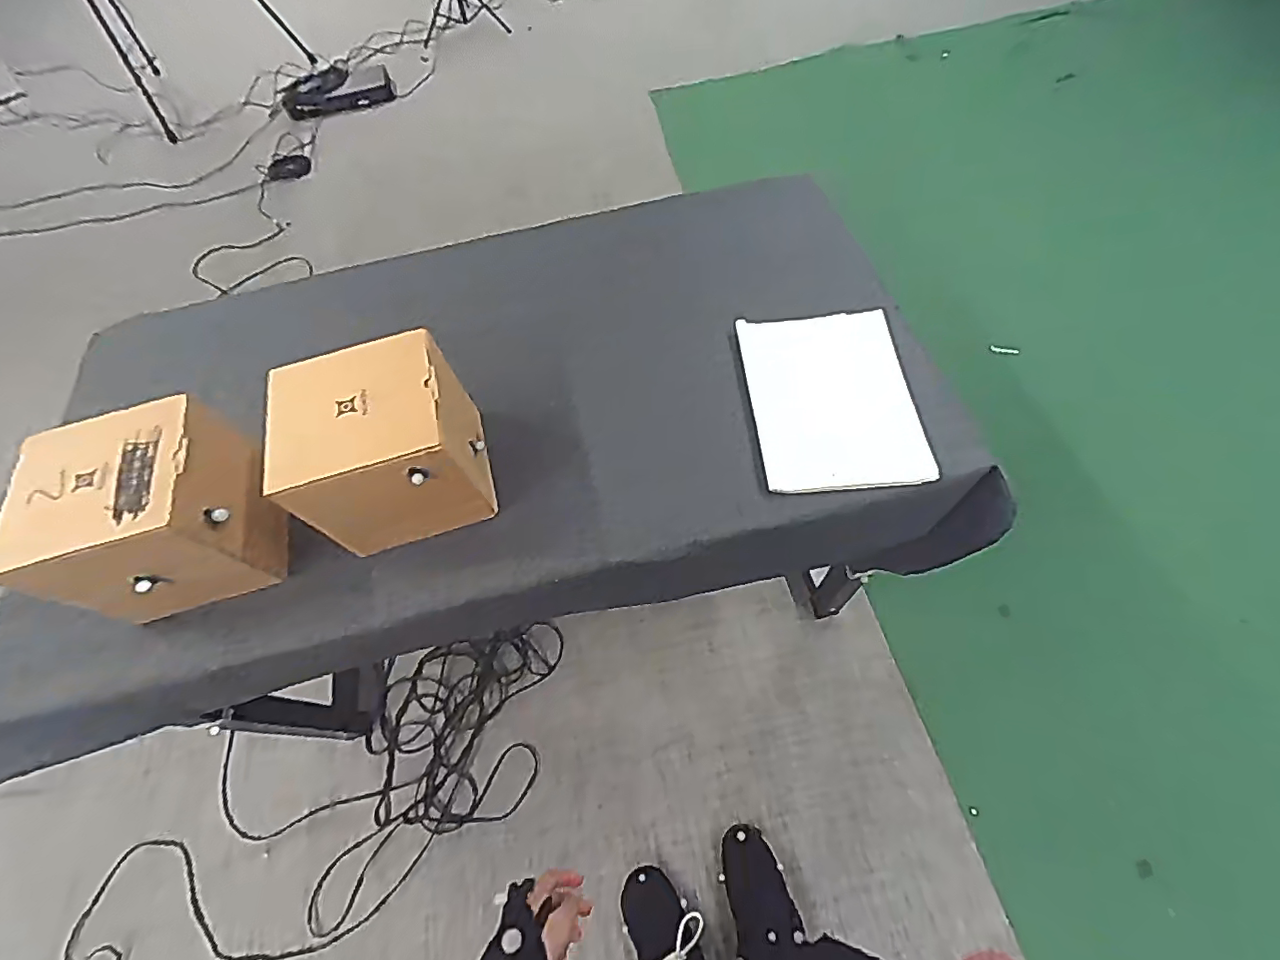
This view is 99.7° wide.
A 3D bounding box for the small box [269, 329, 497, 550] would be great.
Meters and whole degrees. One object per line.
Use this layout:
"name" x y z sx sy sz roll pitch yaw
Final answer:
"small box" -0.286 -0.038 0.628 0.179 0.176 0.168 -17 61 -4
